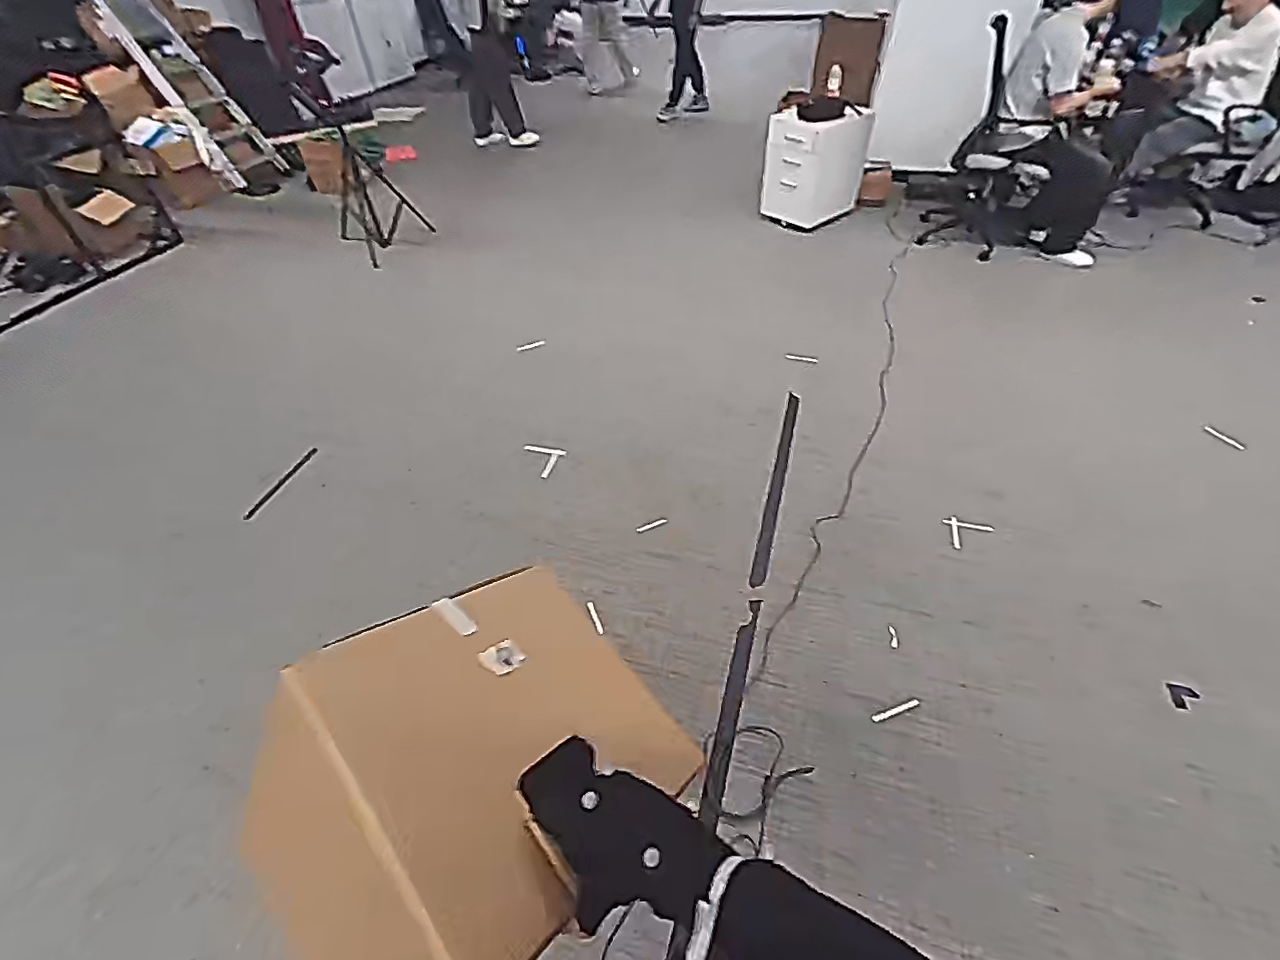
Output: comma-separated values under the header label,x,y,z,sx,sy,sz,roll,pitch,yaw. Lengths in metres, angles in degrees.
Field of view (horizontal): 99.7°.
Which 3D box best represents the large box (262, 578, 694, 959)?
label,x,y,z,sx,sy,sz,roll,pitch,yaw
large box,-0.212,0.391,0.655,0.320,0.408,0.320,46,33,22
